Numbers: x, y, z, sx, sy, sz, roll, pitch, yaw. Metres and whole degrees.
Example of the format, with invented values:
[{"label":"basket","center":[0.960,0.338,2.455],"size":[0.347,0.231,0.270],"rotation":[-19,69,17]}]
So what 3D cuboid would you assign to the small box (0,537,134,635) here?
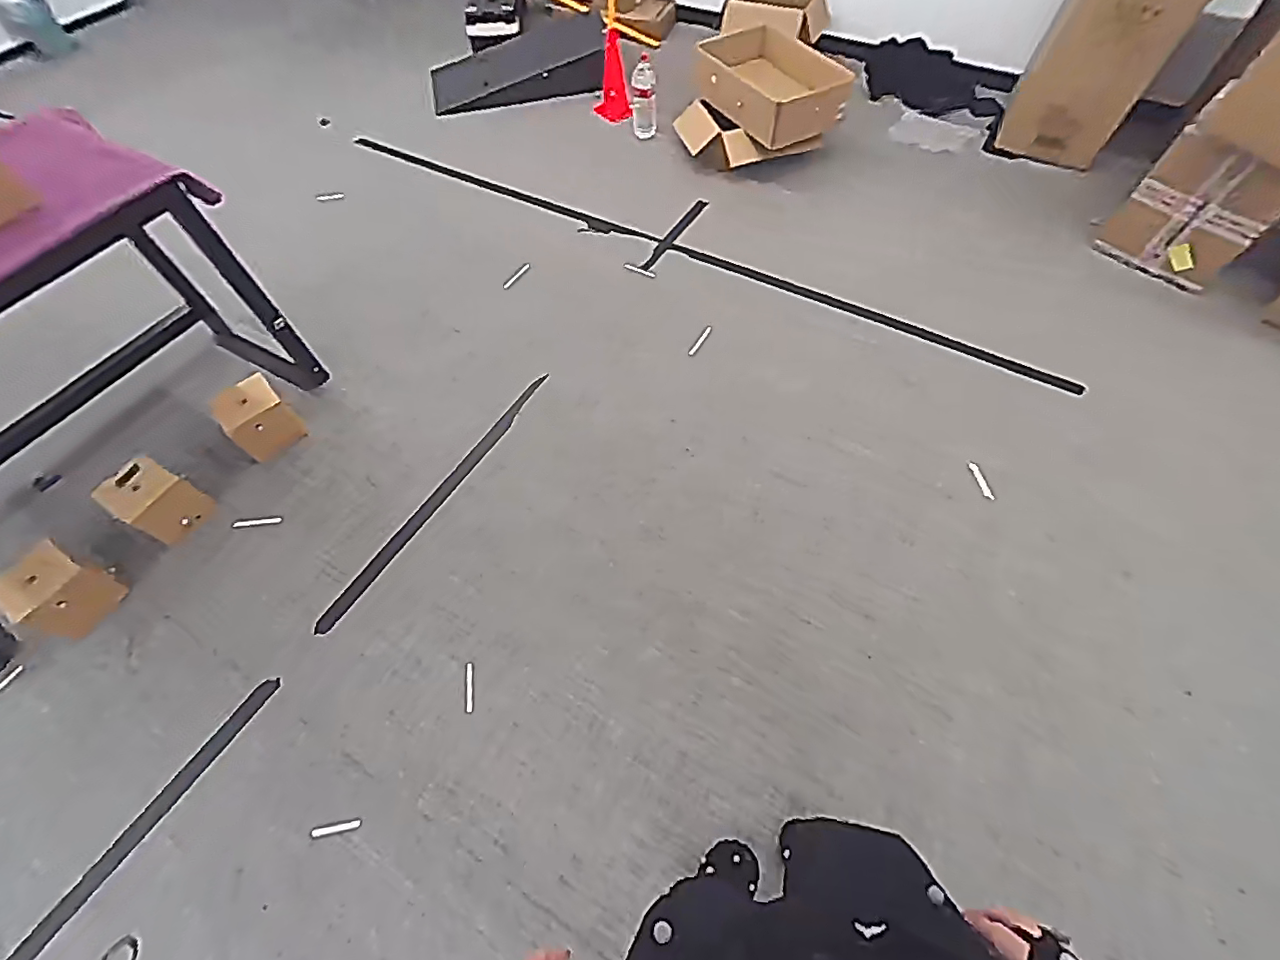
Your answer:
[{"label":"small box","center":[-1.542,0.291,1.454],"size":[0.168,0.176,0.179],"rotation":[29,64,16]}]

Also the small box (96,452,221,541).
[{"label":"small box","center":[-1.402,0.054,1.586],"size":[0.179,0.176,0.168],"rotation":[26,64,15]}]

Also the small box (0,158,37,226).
[{"label":"small box","center":[-1.465,-0.646,1.150],"size":[0.168,0.176,0.179],"rotation":[28,65,18]}]

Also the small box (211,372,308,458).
[{"label":"small box","center":[-1.205,-0.206,1.732],"size":[0.179,0.176,0.168],"rotation":[-39,67,-17]}]
